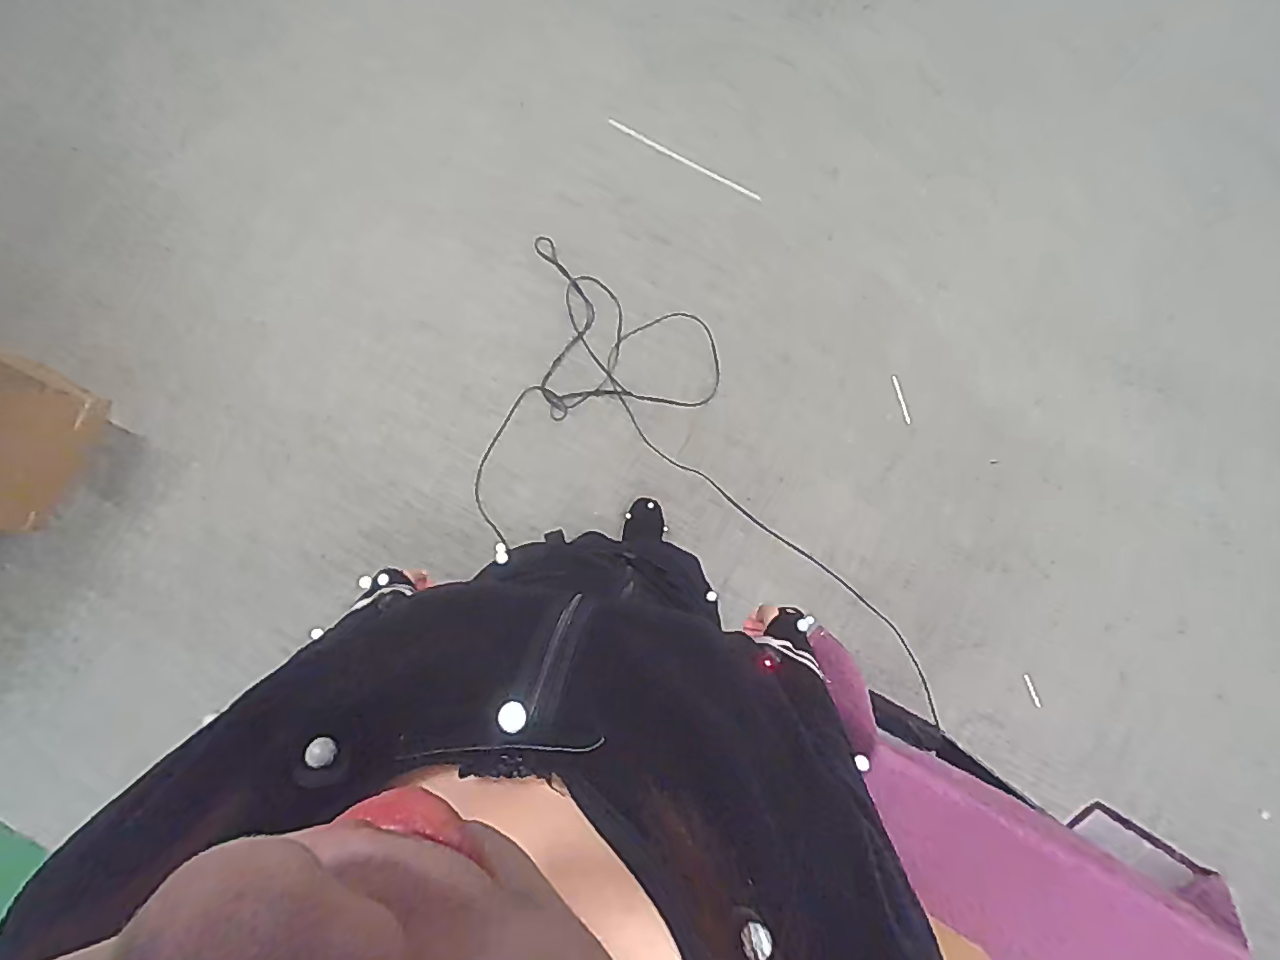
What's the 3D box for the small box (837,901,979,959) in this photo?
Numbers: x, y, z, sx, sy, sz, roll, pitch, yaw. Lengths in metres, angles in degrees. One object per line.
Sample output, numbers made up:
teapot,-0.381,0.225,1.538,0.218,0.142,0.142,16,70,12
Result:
small box,0.364,0.690,0.682,0.179,0.176,0.168,33,89,0
